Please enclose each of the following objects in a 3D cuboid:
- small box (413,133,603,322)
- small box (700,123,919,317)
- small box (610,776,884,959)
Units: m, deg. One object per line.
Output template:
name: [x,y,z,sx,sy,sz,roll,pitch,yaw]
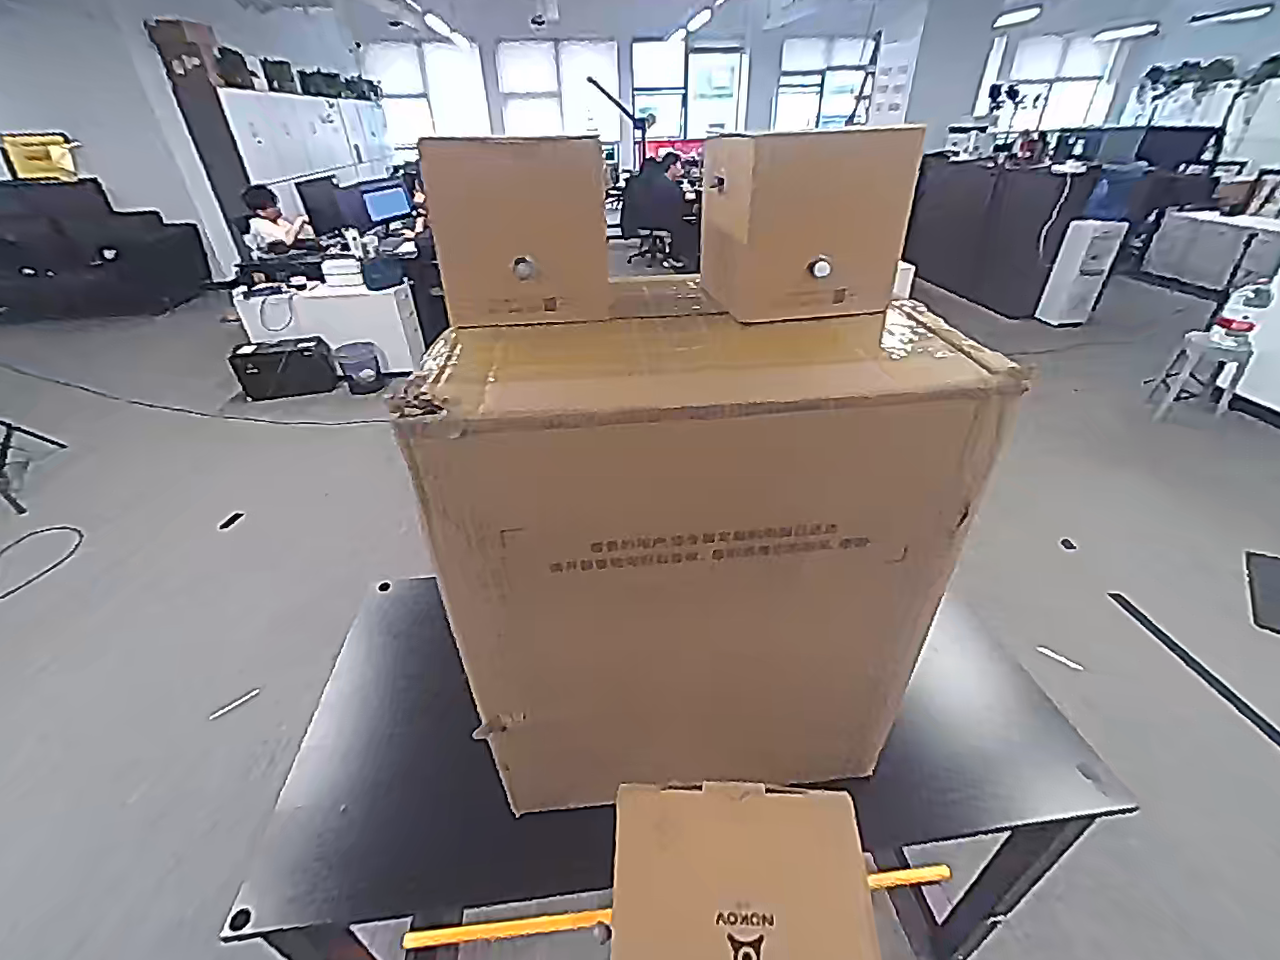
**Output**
small box: [-0.131,-0.279,0.595,0.168,0.176,0.179,-5,33,-7]
small box: [0.163,-0.285,0.593,0.168,0.176,0.179,-7,33,-6]
small box: [0.062,0.329,0.390,0.168,0.176,0.179,2,52,0]
